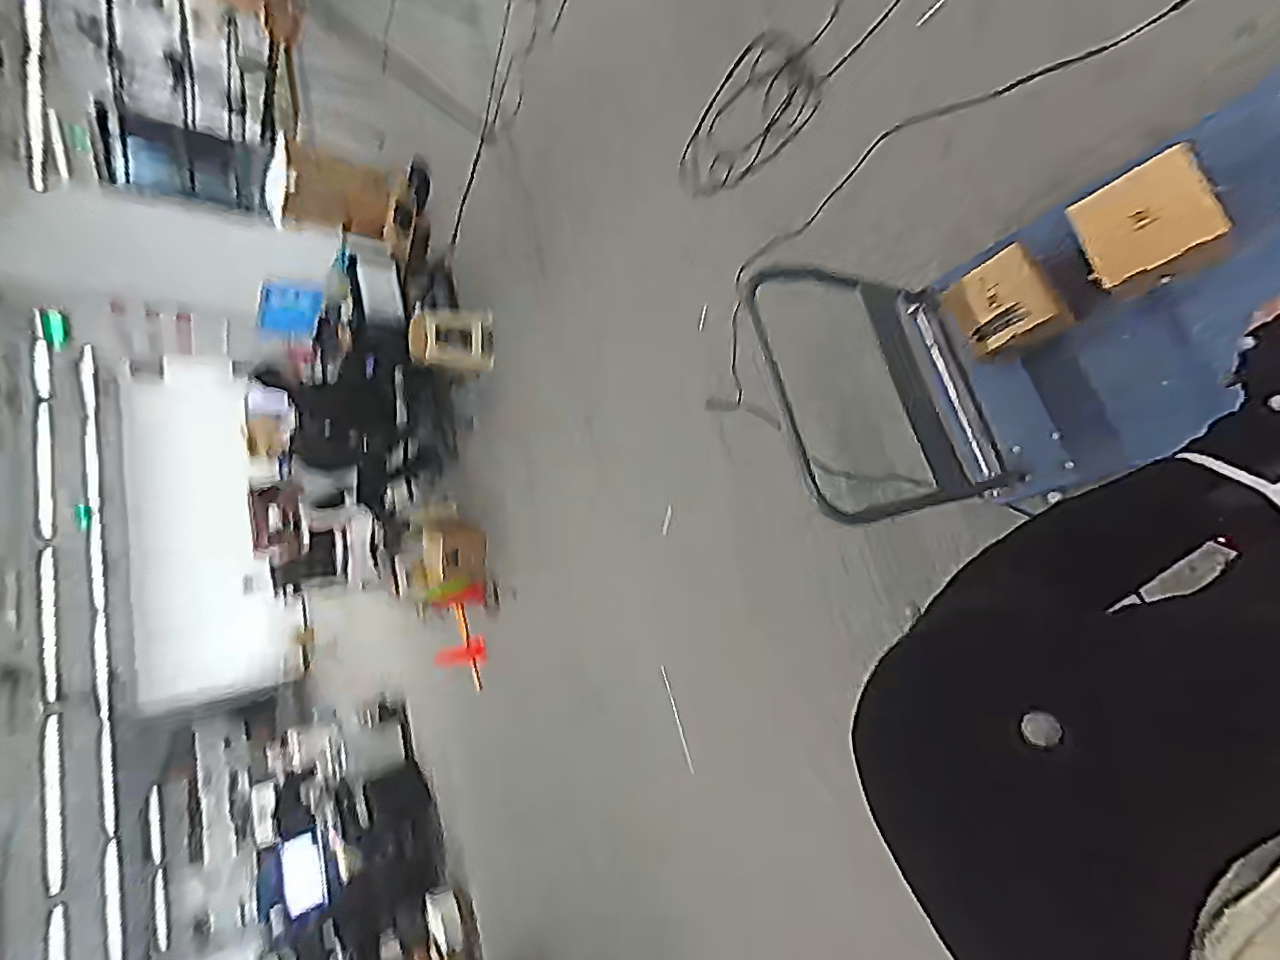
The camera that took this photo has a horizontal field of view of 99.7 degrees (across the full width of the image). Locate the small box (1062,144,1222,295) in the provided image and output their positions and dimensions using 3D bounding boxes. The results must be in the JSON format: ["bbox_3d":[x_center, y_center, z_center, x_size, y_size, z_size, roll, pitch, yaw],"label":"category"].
[{"bbox_3d":[0.933,-0.470,1.007,0.168,0.176,0.179,-29,73,47],"label":"small box"}]
